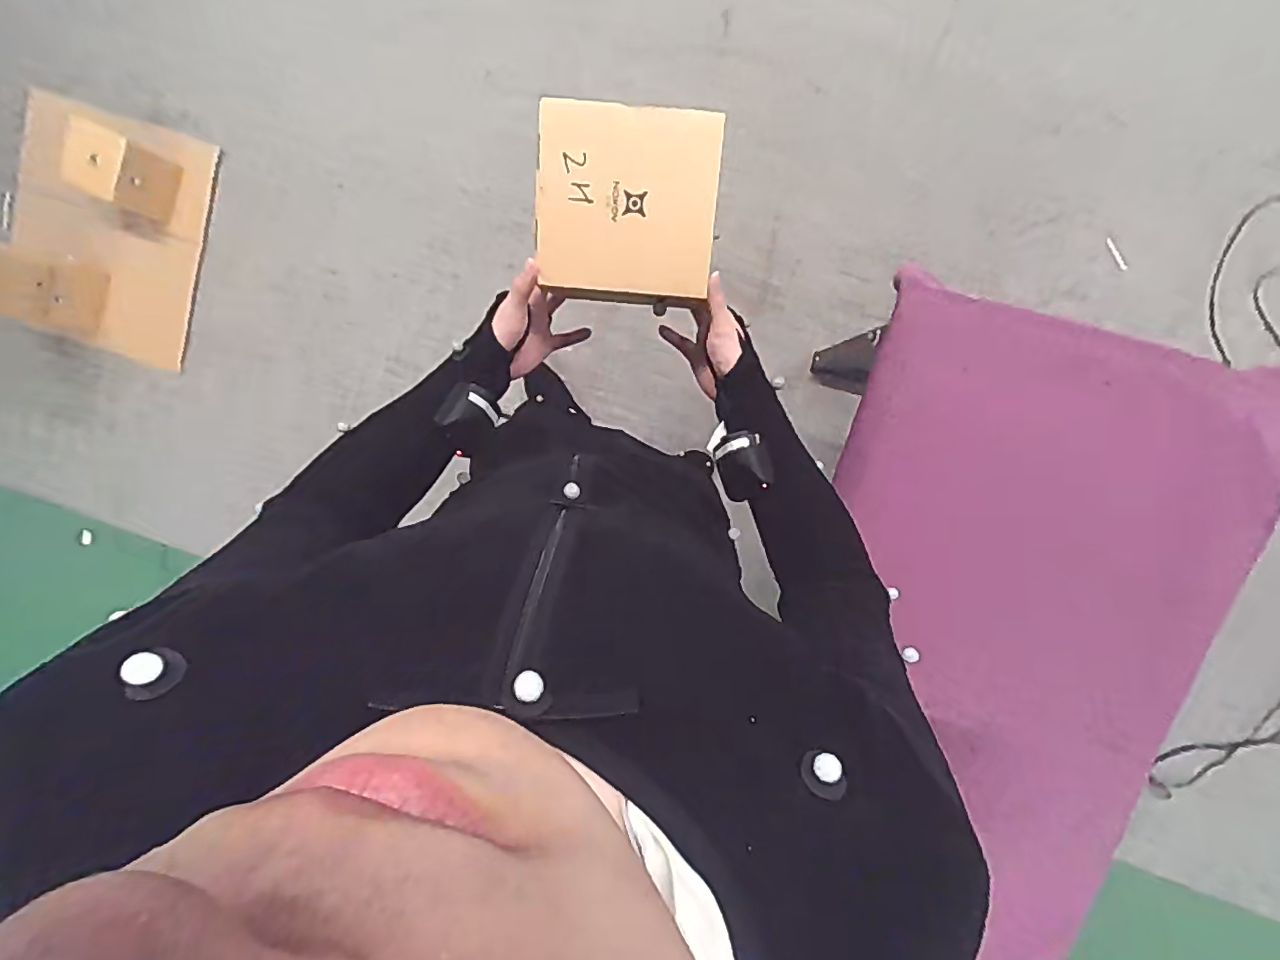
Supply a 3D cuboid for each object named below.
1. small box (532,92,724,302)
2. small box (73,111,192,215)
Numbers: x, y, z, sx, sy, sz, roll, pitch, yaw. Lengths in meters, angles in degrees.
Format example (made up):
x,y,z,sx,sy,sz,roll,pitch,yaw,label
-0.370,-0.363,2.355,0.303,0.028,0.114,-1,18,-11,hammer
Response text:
x,y,z,sx,sy,sz,roll,pitch,yaw,label
-0.013,-0.292,0.597,0.179,0.176,0.168,5,104,1,small box
-1.436,-0.894,1.540,0.168,0.176,0.179,24,101,1,small box
